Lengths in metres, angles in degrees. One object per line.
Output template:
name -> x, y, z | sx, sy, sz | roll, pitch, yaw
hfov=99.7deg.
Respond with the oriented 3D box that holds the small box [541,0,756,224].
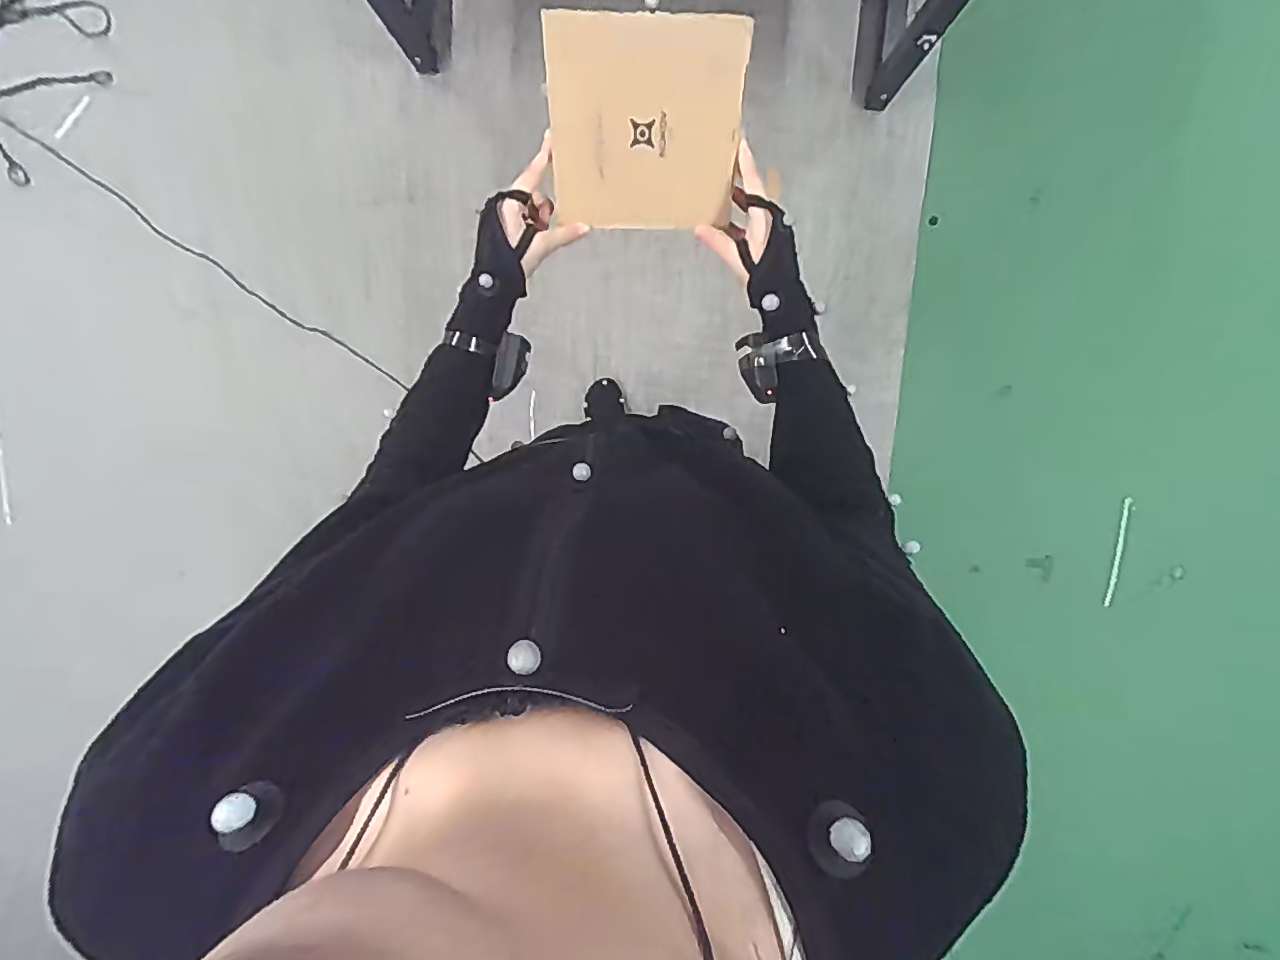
small box -> 0.000, -0.369, 0.540 | 0.179, 0.176, 0.168 | 0, 130, -3
